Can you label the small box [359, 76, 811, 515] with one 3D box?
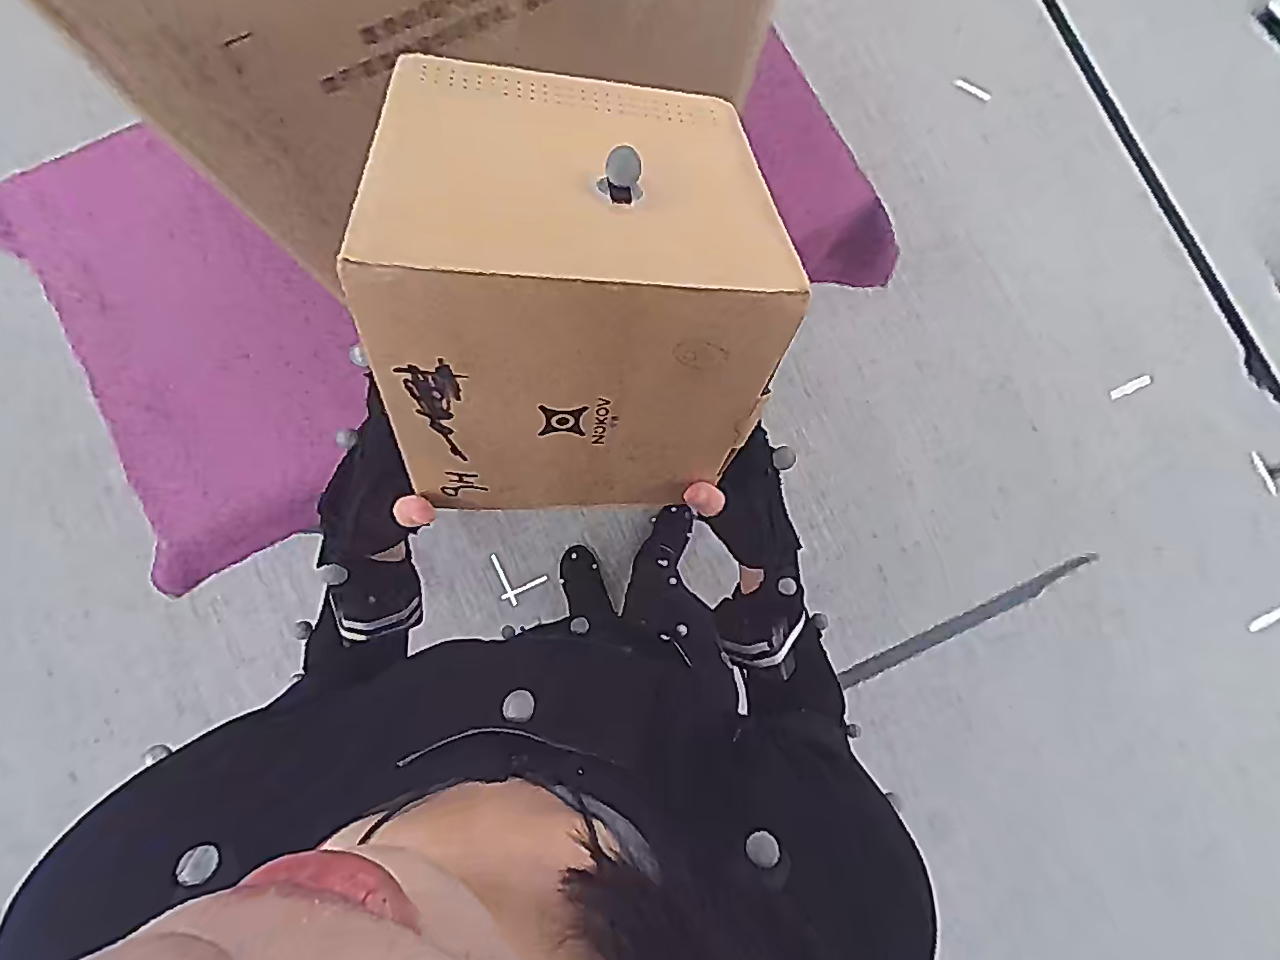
[{"bbox_3d":[-0.037,-0.094,0.308,0.179,0.168,0.176,0,56,-12],"label":"small box"}]
